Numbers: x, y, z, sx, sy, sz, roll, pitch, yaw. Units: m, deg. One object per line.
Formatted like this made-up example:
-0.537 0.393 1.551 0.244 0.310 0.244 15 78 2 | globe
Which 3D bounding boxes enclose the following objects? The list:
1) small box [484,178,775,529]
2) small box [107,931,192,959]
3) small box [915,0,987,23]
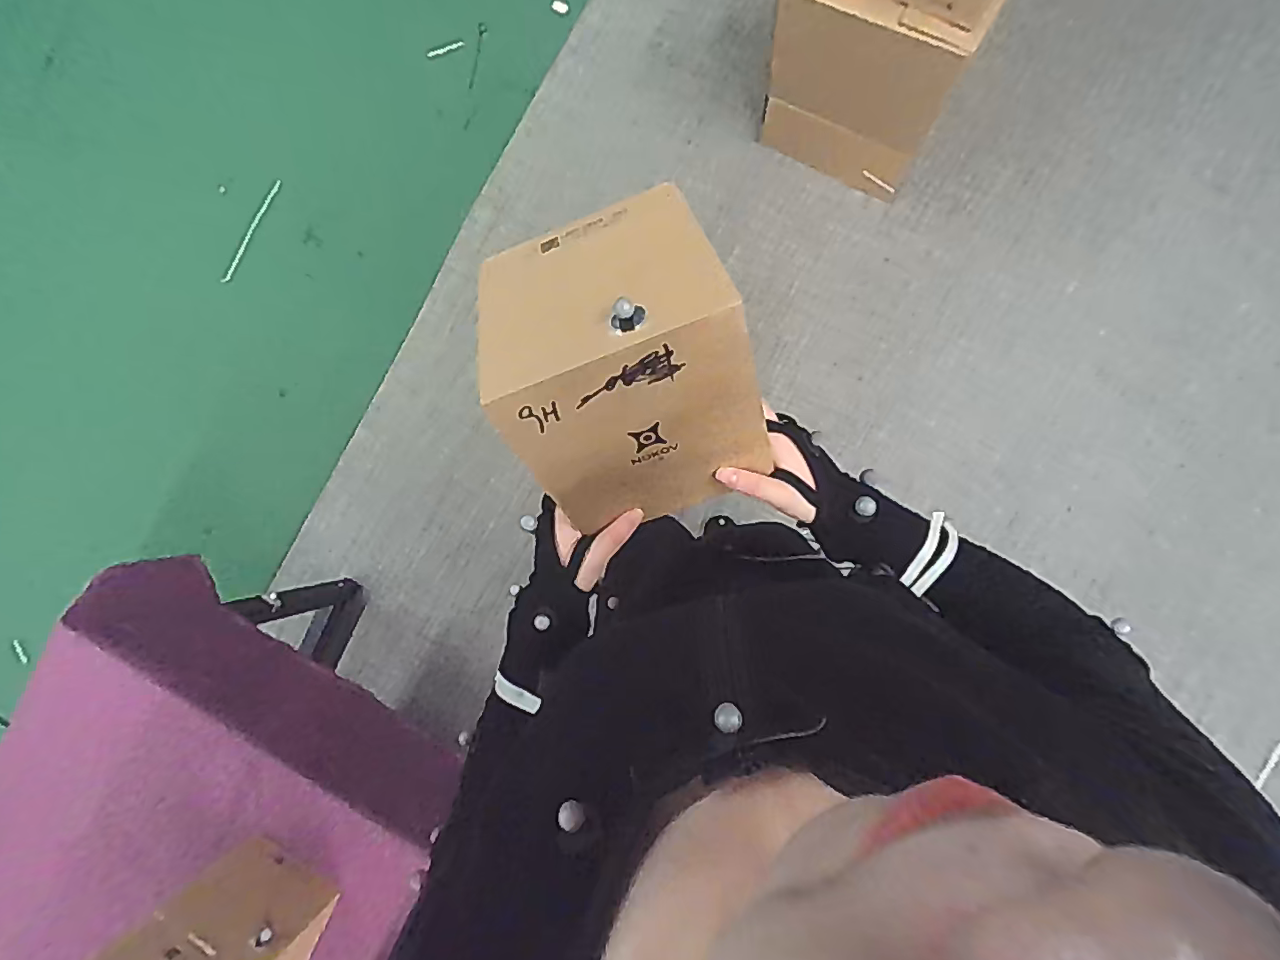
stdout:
-0.006 -0.093 0.425 0.168 0.179 0.176 -20 51 7 | small box
-0.589 0.662 0.588 0.168 0.176 0.179 26 93 8 | small box
0.585 -0.969 0.948 0.168 0.176 0.179 33 91 9 | small box
